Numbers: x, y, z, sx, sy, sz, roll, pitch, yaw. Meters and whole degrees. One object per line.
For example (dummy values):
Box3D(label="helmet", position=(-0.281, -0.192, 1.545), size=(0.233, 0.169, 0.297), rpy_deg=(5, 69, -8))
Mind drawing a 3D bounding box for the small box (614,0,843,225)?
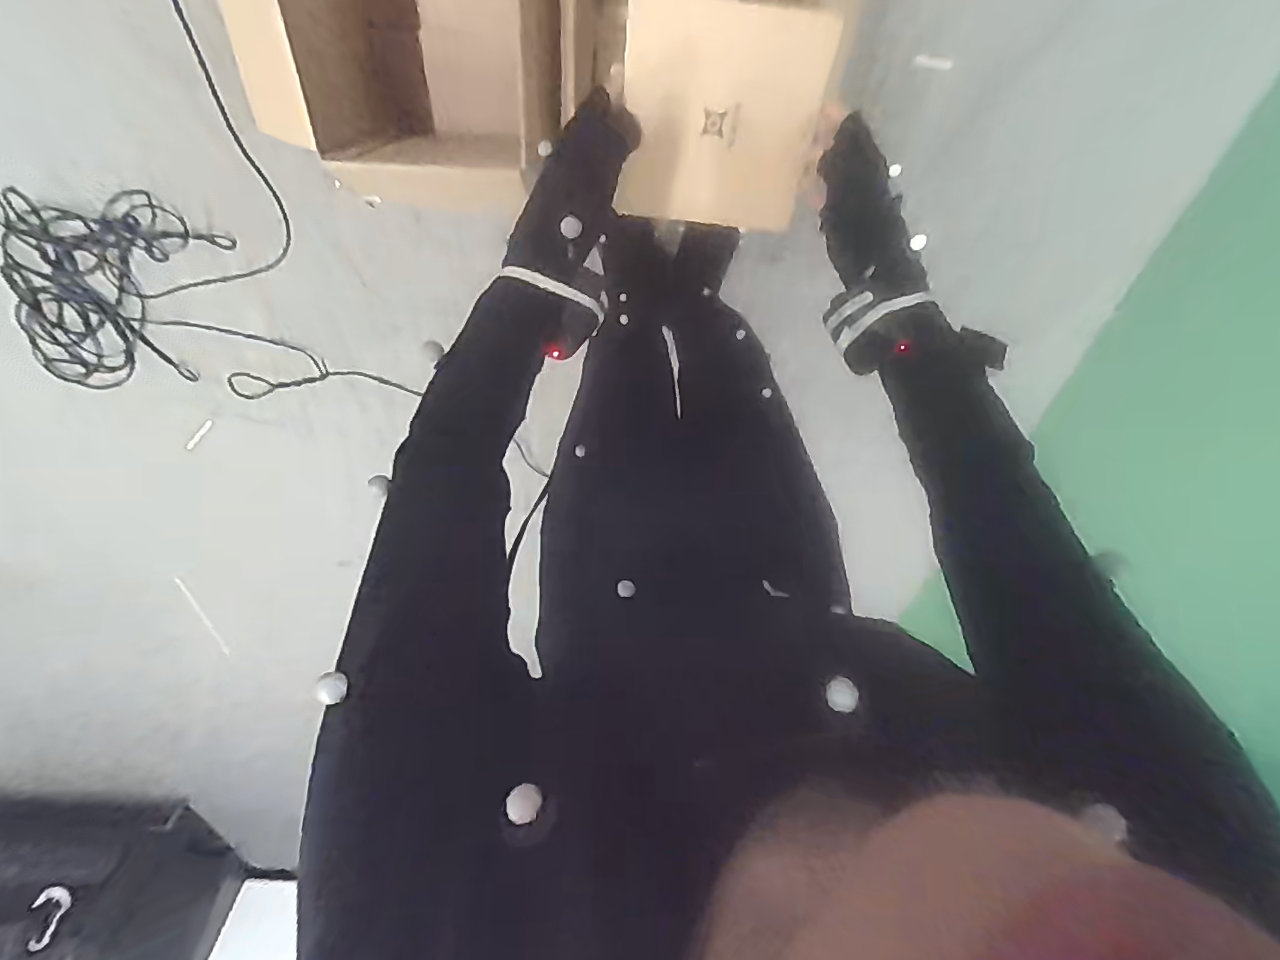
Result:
Box3D(label="small box", position=(0.070, -0.373, 0.537), size=(0.179, 0.176, 0.168), rpy_deg=(4, 132, -3))
